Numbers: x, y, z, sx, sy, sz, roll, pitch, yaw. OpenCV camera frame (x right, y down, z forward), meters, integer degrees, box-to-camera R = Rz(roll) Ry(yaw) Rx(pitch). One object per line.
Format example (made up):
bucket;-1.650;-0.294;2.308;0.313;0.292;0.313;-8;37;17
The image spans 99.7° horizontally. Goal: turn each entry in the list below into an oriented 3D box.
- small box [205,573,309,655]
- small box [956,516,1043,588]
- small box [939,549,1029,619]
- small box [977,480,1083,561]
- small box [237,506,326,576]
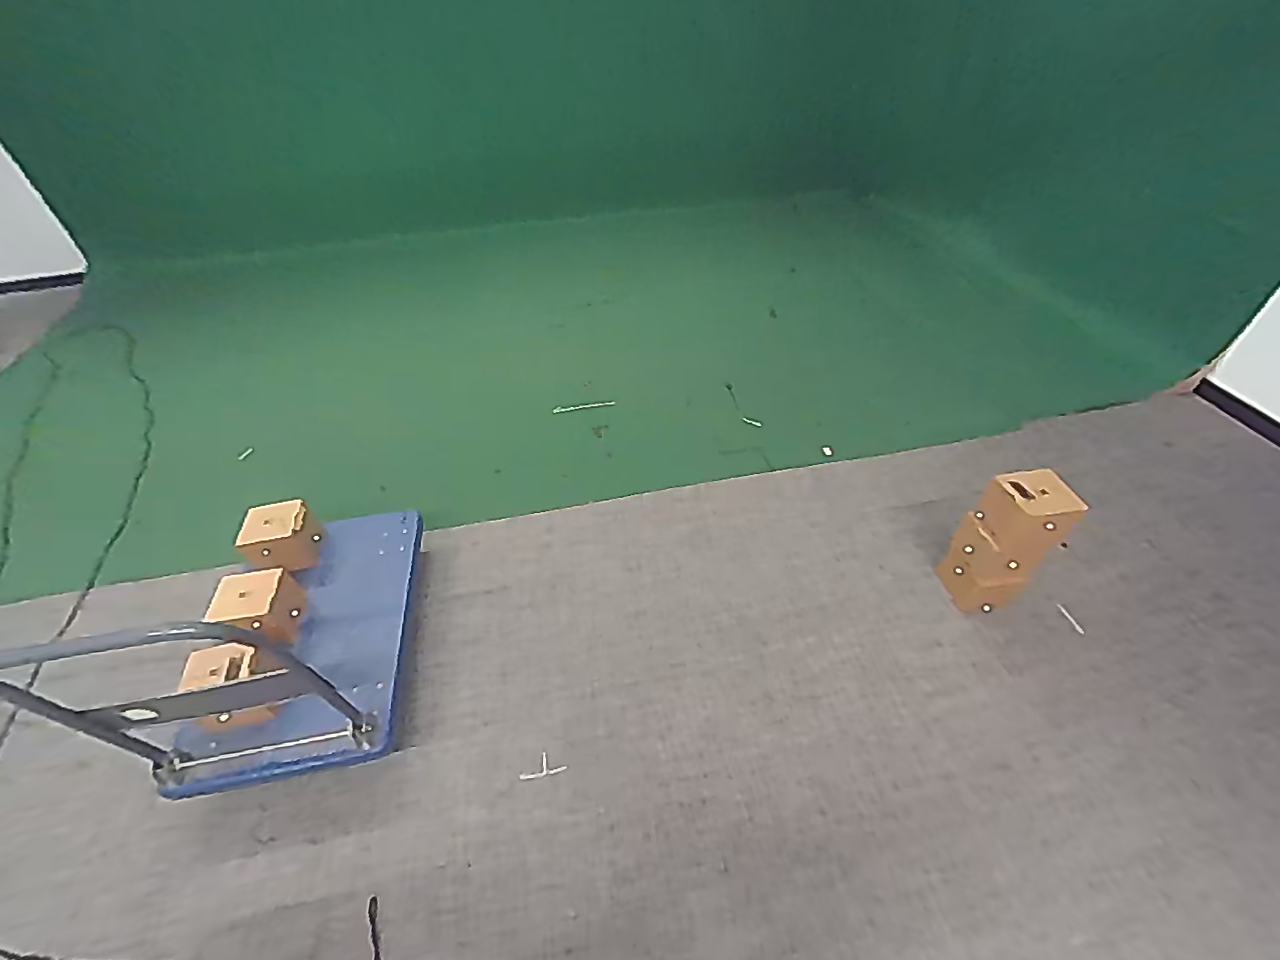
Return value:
small box;-1.147;0.408;1.634;0.179;0.176;0.168;-8;45;-6
small box;1.130;0.223;1.703;0.179;0.176;0.168;-7;45;-1
small box;1.143;0.343;1.814;0.168;0.176;0.179;-6;45;-1
small box;1.132;0.123;1.593;0.179;0.176;0.168;-7;45;-3
small box;-1.202;0.214;1.827;0.179;0.176;0.168;-9;46;-6
